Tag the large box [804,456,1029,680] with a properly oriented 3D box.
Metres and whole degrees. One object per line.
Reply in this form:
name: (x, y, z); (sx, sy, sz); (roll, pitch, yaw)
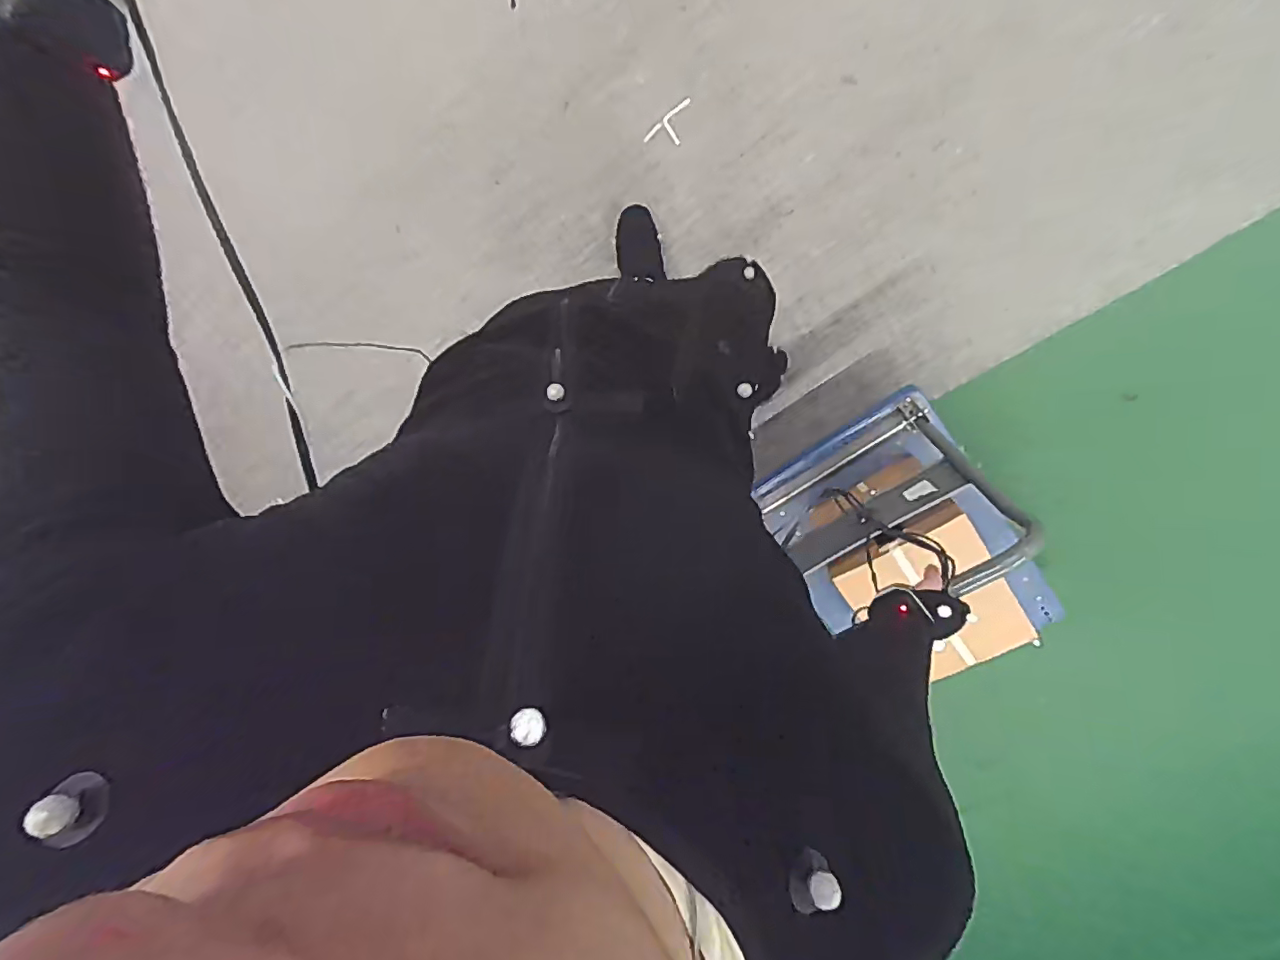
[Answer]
large box: (0.679, 0.217, 1.383); (0.320, 0.320, 0.408); (-33, 109, 20)
